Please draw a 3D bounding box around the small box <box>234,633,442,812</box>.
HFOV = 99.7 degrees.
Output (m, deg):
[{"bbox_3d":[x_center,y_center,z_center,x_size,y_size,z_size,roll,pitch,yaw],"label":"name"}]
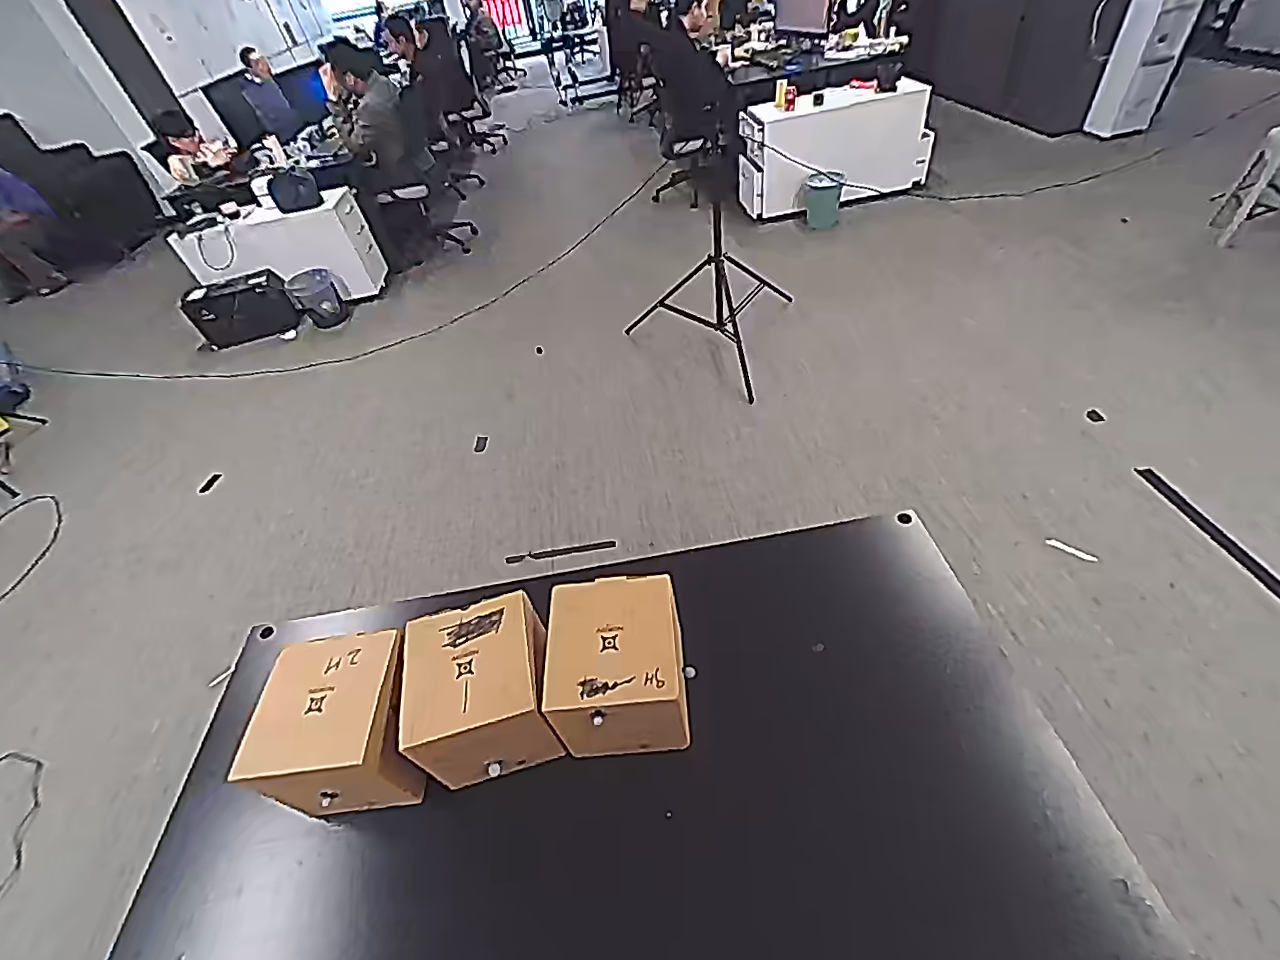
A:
[{"bbox_3d":[-0.393,0.339,0.744,0.168,0.176,0.179,-8,45,2],"label":"small box"}]
